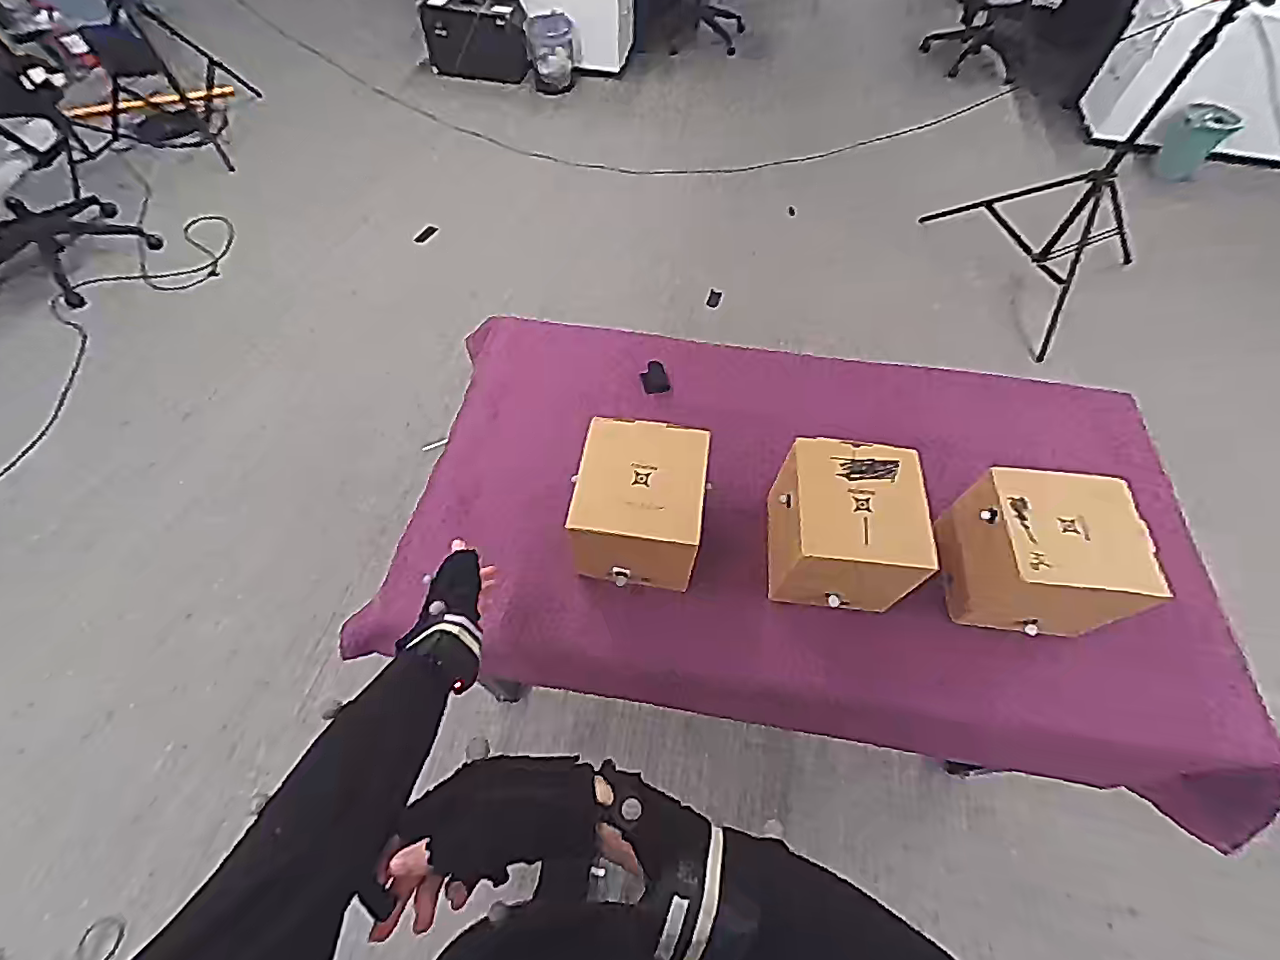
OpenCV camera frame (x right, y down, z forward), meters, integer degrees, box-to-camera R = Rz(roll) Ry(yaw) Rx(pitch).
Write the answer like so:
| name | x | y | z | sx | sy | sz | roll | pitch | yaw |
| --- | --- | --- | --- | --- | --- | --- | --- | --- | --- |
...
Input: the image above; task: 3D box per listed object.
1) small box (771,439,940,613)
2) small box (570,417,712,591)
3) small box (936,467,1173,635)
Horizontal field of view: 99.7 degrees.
| name | x | y | z | sx | sy | sz | roll | pitch | yaw |
| --- | --- | --- | --- | --- | --- | --- | --- | --- | --- |
| small box | 0.282 | 0.067 | 0.753 | 0.168 | 0.176 | 0.179 | 6 | 59 | 2 |
| small box | 0.005 | 0.038 | 0.764 | 0.168 | 0.176 | 0.179 | 7 | 59 | 4 |
| small box | 0.543 | 0.104 | 0.739 | 0.179 | 0.176 | 0.168 | 7 | 58 | 2 |
